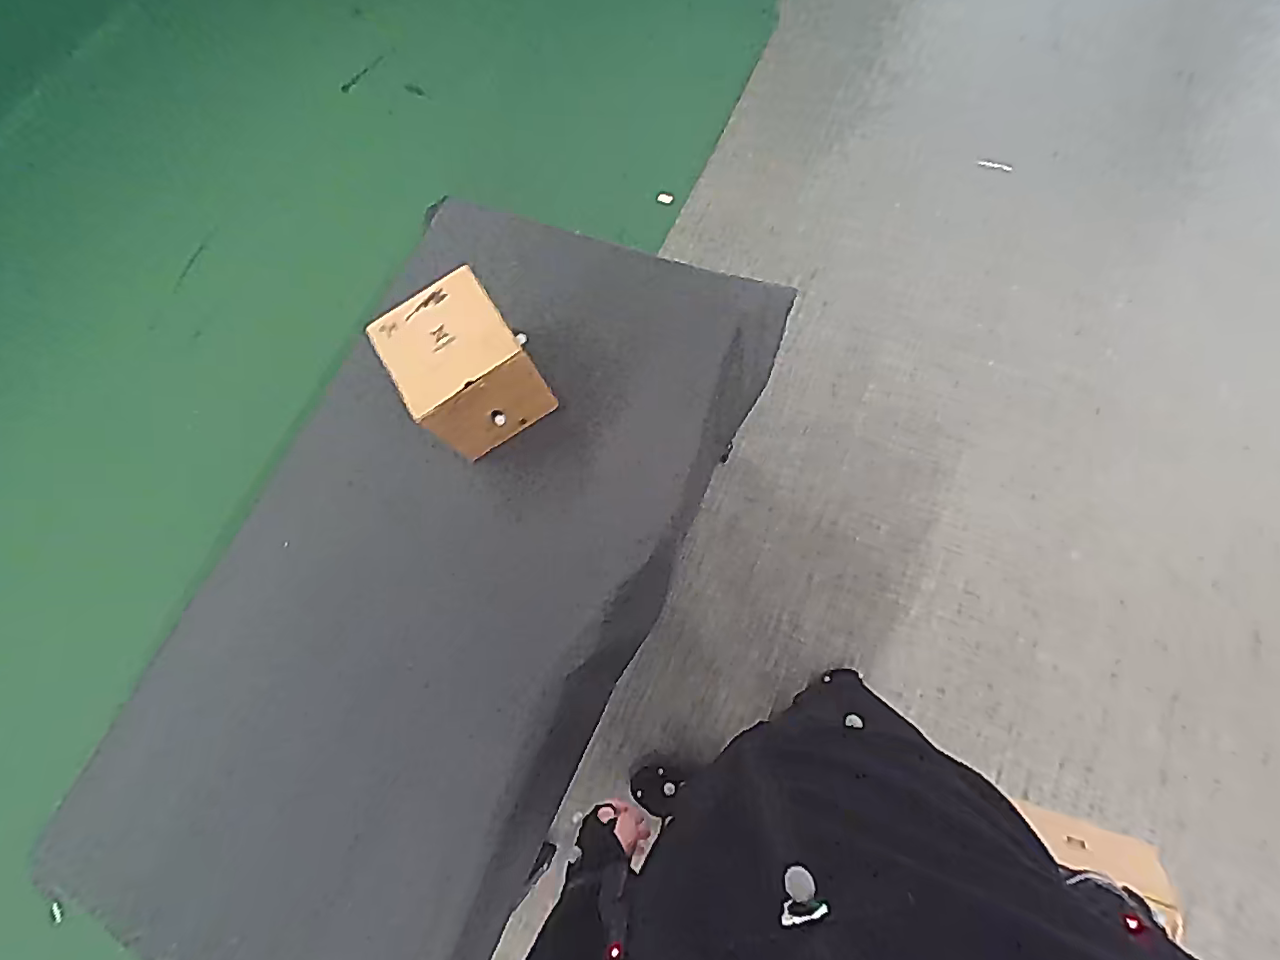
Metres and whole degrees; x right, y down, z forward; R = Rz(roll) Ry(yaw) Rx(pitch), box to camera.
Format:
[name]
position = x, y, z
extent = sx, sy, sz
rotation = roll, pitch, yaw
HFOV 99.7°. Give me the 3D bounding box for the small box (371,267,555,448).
[small box]
position = -0.249, -0.165, 0.801
extent = 0.168, 0.176, 0.179
rotation = -33, 73, -3
